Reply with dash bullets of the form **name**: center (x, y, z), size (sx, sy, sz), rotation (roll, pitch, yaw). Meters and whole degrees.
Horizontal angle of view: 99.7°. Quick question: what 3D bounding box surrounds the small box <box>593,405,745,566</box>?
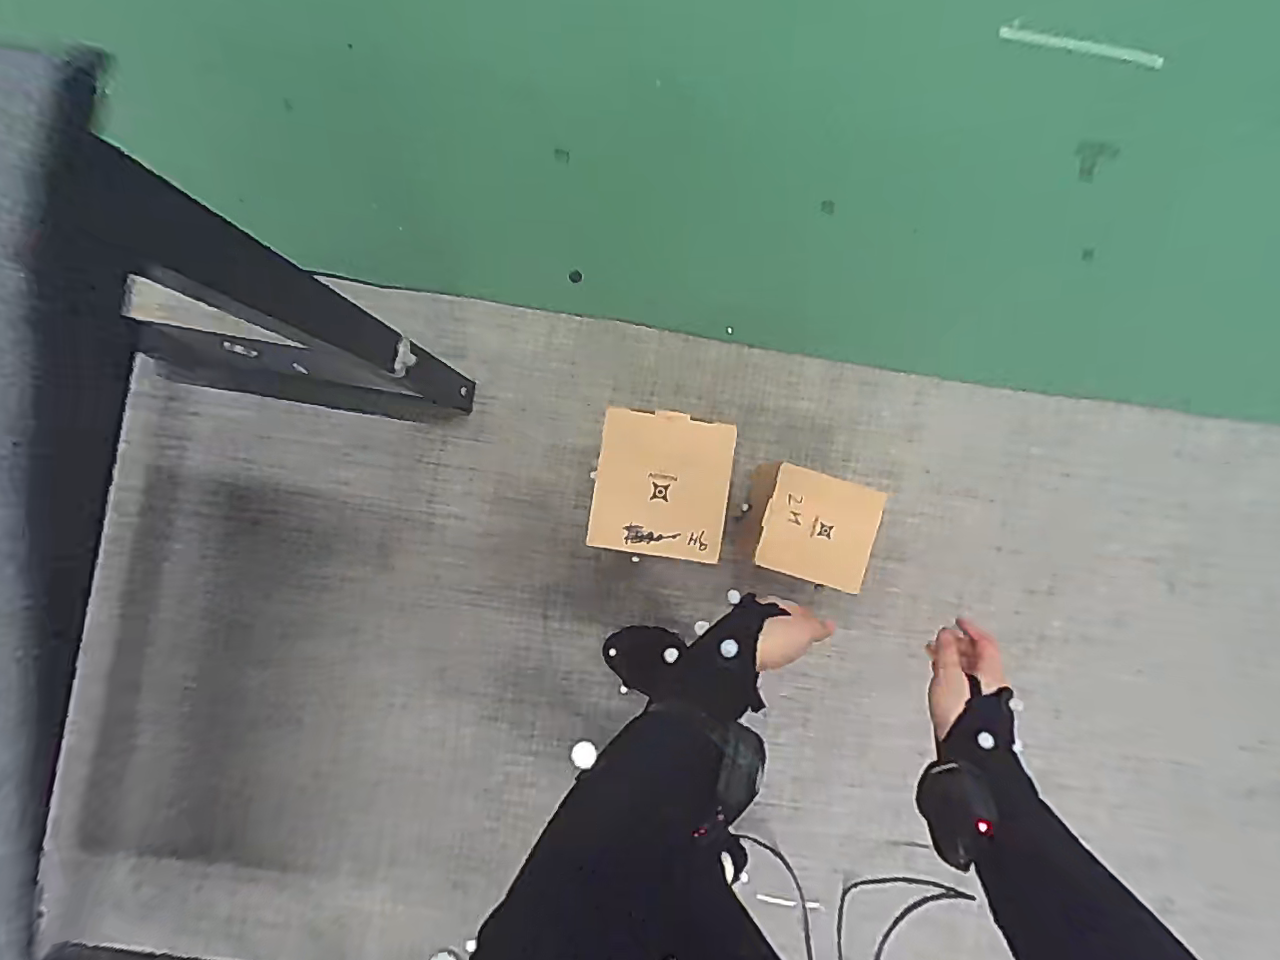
- **small box**: center (0.032, 0.008, 0.742), size (0.168, 0.176, 0.179), rotation (10, 89, -2)
